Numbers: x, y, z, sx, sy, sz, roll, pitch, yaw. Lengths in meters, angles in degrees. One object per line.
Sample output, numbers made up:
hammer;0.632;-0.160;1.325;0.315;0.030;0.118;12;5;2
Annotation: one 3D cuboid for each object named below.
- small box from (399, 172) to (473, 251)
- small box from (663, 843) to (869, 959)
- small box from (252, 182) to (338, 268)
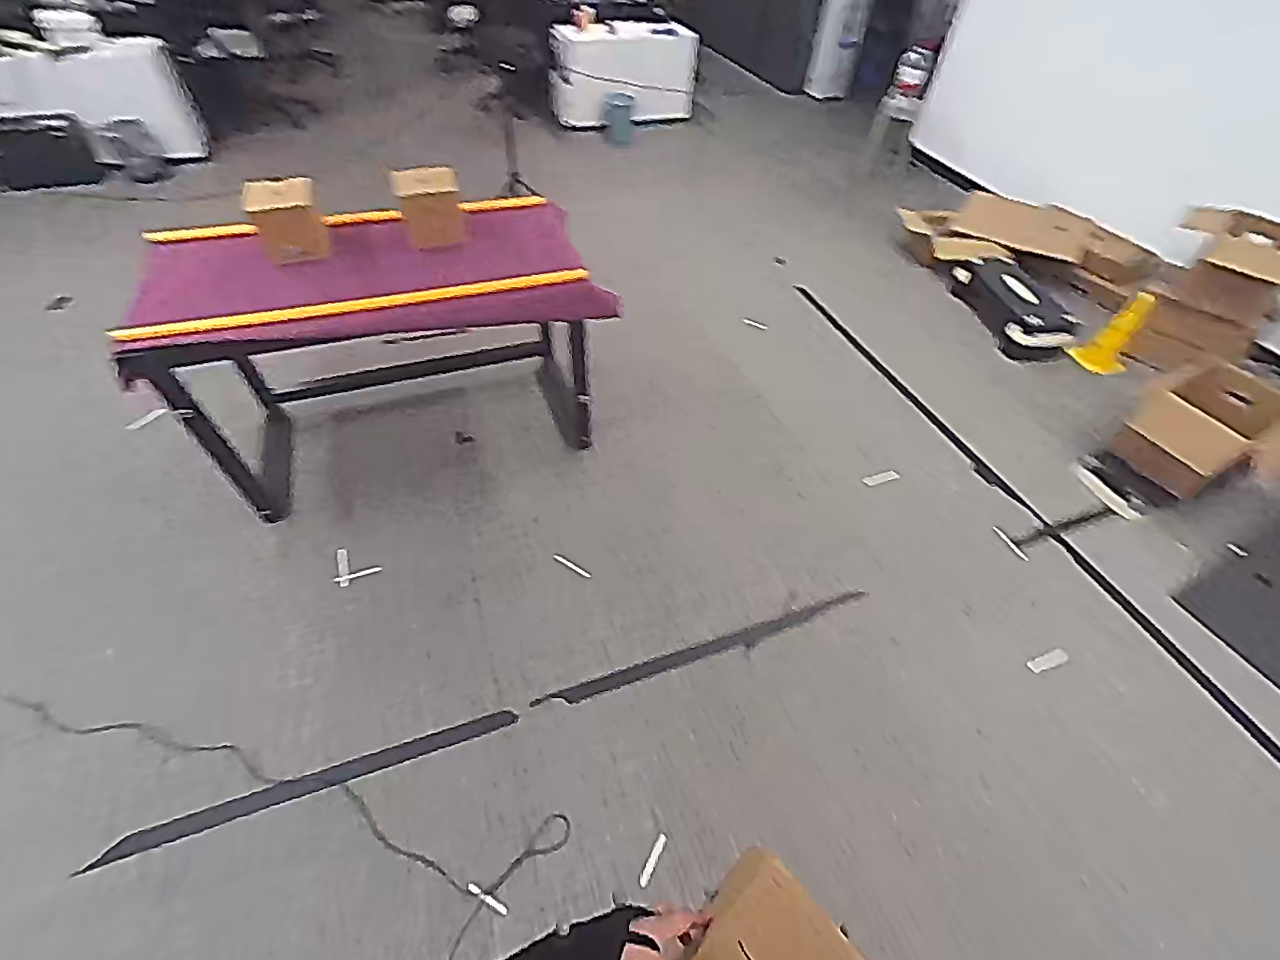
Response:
small box;-0.641;-0.844;1.706;0.179;0.176;0.168;-14;54;-14
small box;0.139;0.521;0.570;0.168;0.176;0.179;-41;65;-18
small box;-1.023;-0.761;1.616;0.168;0.176;0.179;-16;54;-15
